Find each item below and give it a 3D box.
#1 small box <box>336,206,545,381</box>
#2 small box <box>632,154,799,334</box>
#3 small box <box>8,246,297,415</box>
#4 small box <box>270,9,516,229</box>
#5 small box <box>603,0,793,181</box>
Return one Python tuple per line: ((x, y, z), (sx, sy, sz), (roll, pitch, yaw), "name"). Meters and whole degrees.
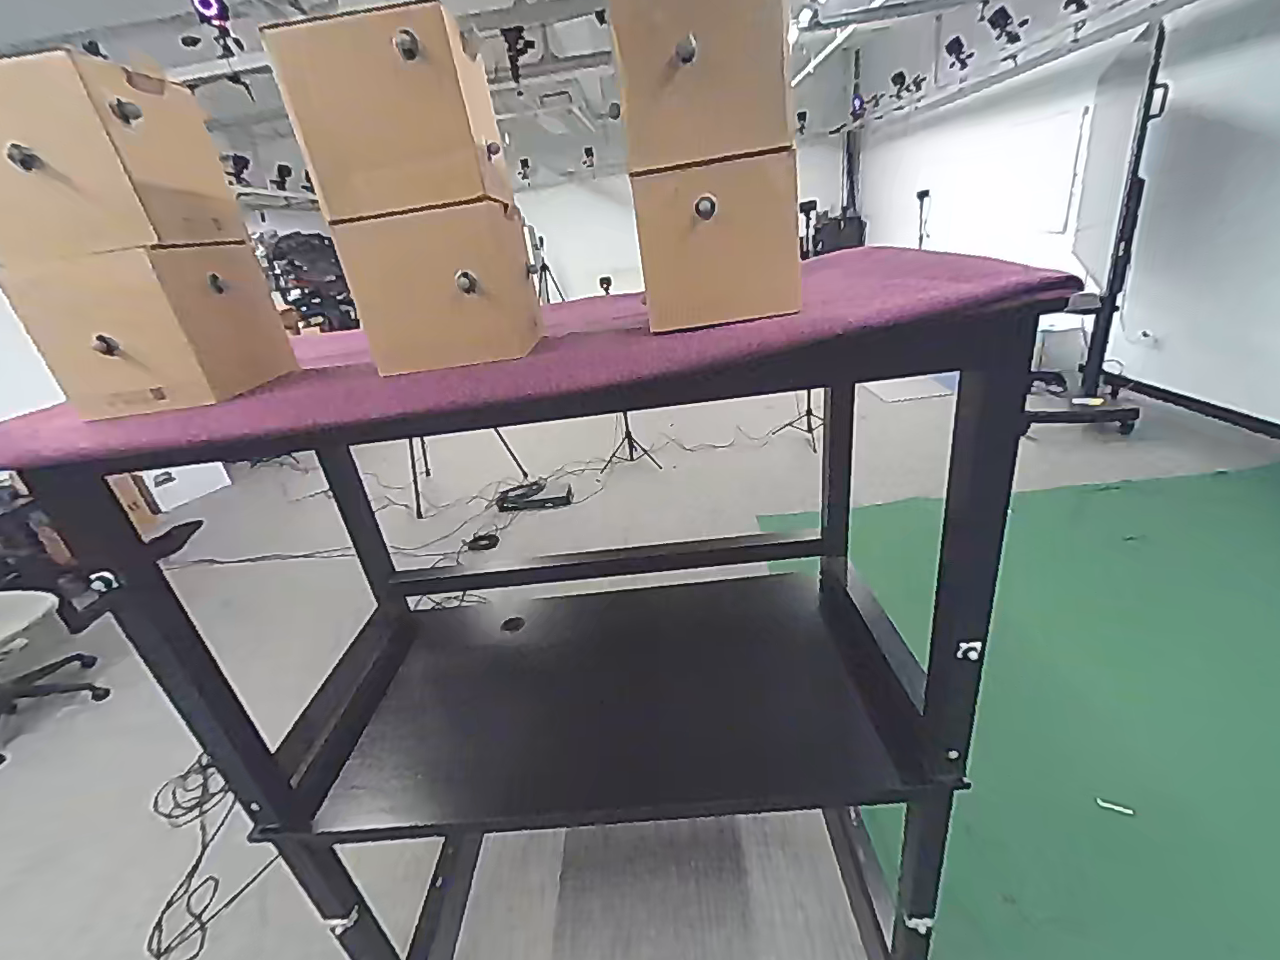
((-0.226, -0.232, 0.672), (0.179, 0.176, 0.168), (-8, 23, 3), "small box")
((0.092, -0.283, 0.675), (0.179, 0.176, 0.168), (-6, 22, 5), "small box")
((-0.565, -0.183, 0.664), (0.168, 0.176, 0.179), (-7, 25, 1), "small box")
((-0.255, -0.380, 0.608), (0.179, 0.176, 0.168), (-8, 23, 1), "small box")
((0.067, -0.434, 0.614), (0.179, 0.176, 0.168), (-7, 22, 6), "small box")
